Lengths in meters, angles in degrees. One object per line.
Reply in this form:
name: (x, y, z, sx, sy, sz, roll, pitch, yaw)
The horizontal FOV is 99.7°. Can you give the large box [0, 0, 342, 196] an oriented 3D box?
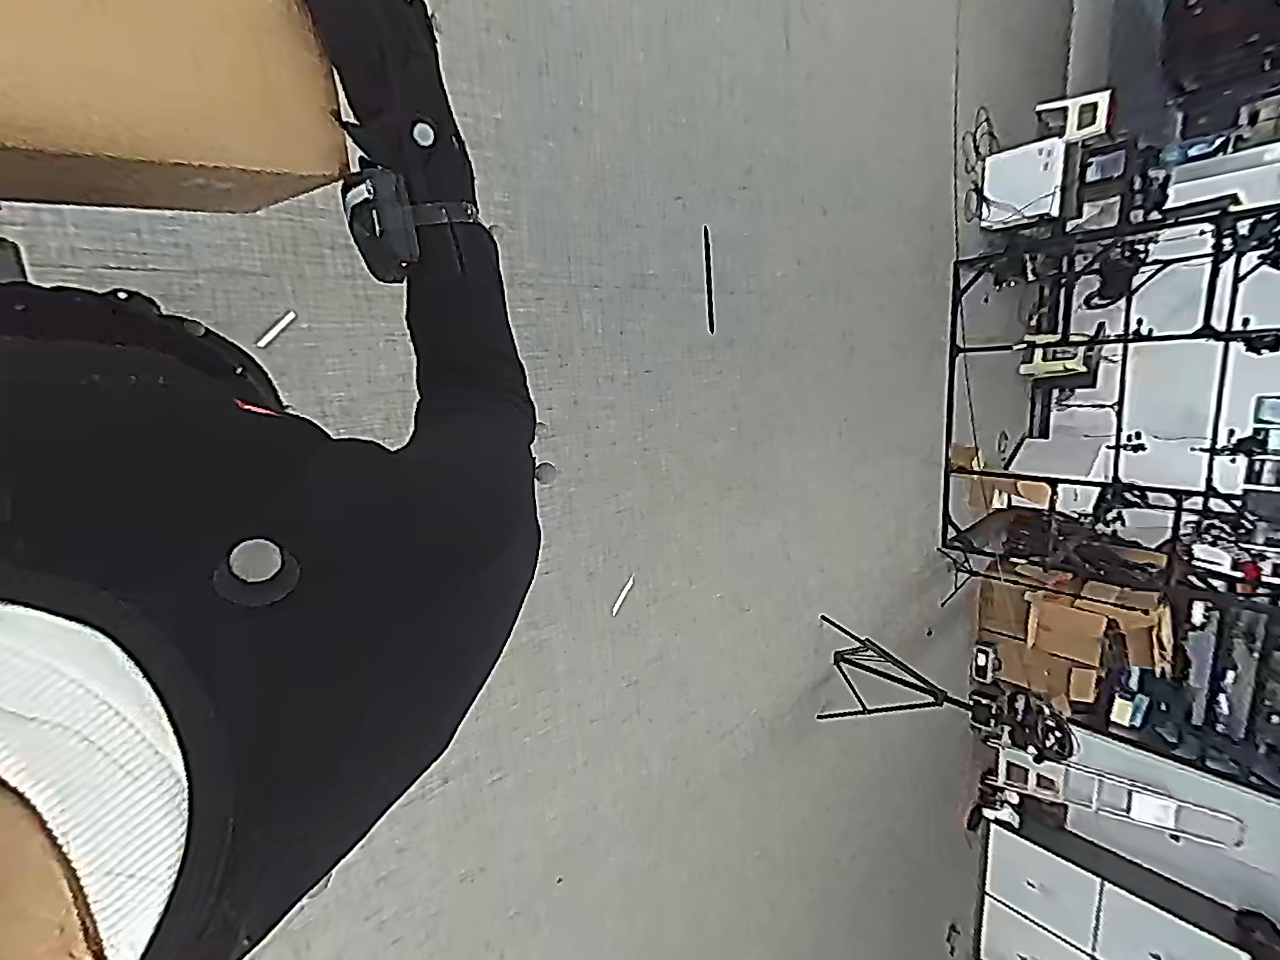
large box: (-0.456, -0.346, 0.290, 0.408, 0.320, 0.320, -21, 121, -41)
